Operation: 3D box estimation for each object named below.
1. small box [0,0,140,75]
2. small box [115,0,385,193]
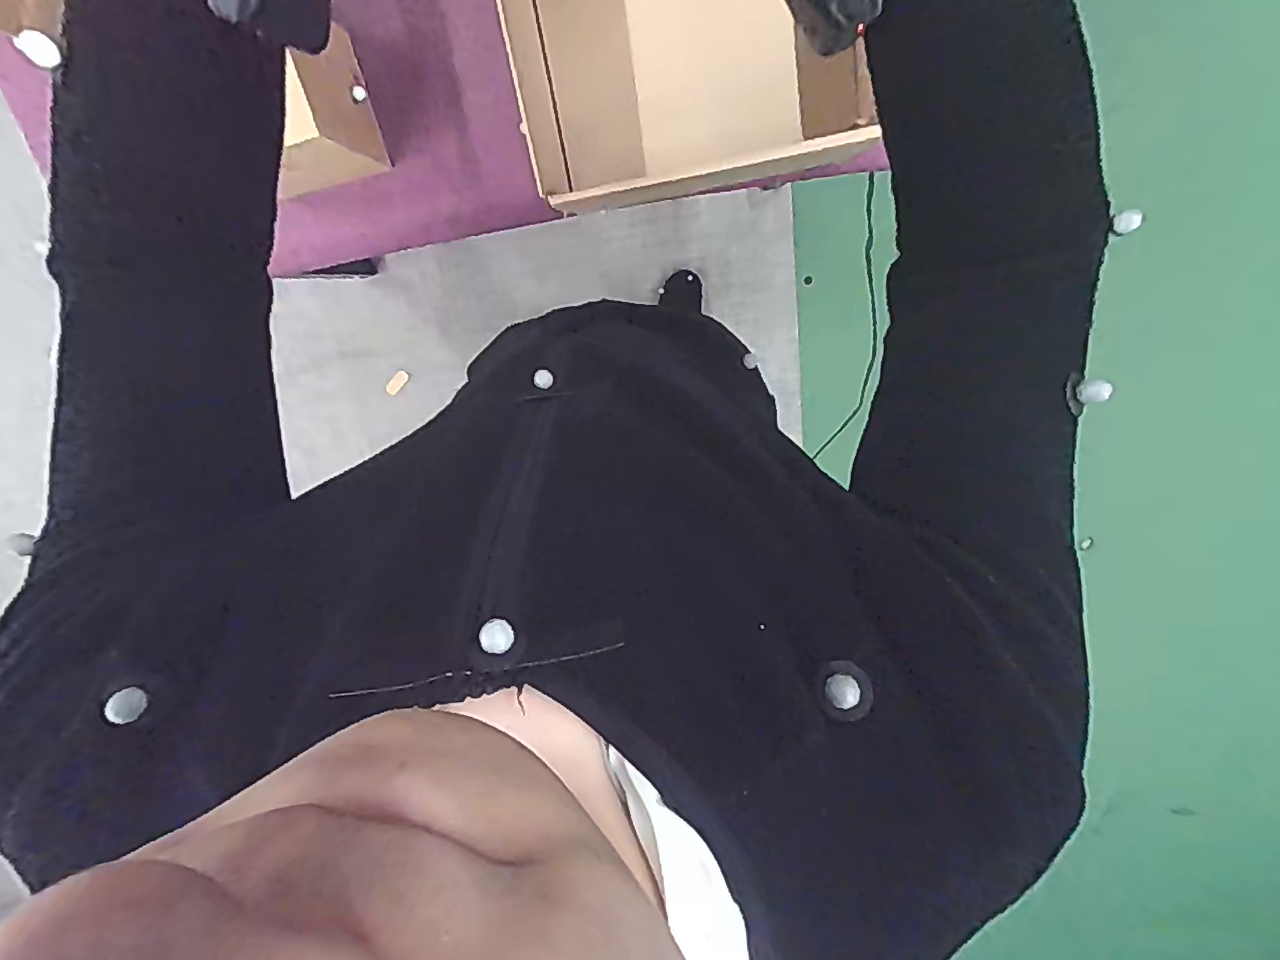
[{"bbox_3d":[-0.705,-0.617,0.627,0.179,0.176,0.168,31,108,-9],"label":"small box"},{"bbox_3d":[-0.457,-0.472,0.667,0.179,0.176,0.168,-11,109,7],"label":"small box"}]
